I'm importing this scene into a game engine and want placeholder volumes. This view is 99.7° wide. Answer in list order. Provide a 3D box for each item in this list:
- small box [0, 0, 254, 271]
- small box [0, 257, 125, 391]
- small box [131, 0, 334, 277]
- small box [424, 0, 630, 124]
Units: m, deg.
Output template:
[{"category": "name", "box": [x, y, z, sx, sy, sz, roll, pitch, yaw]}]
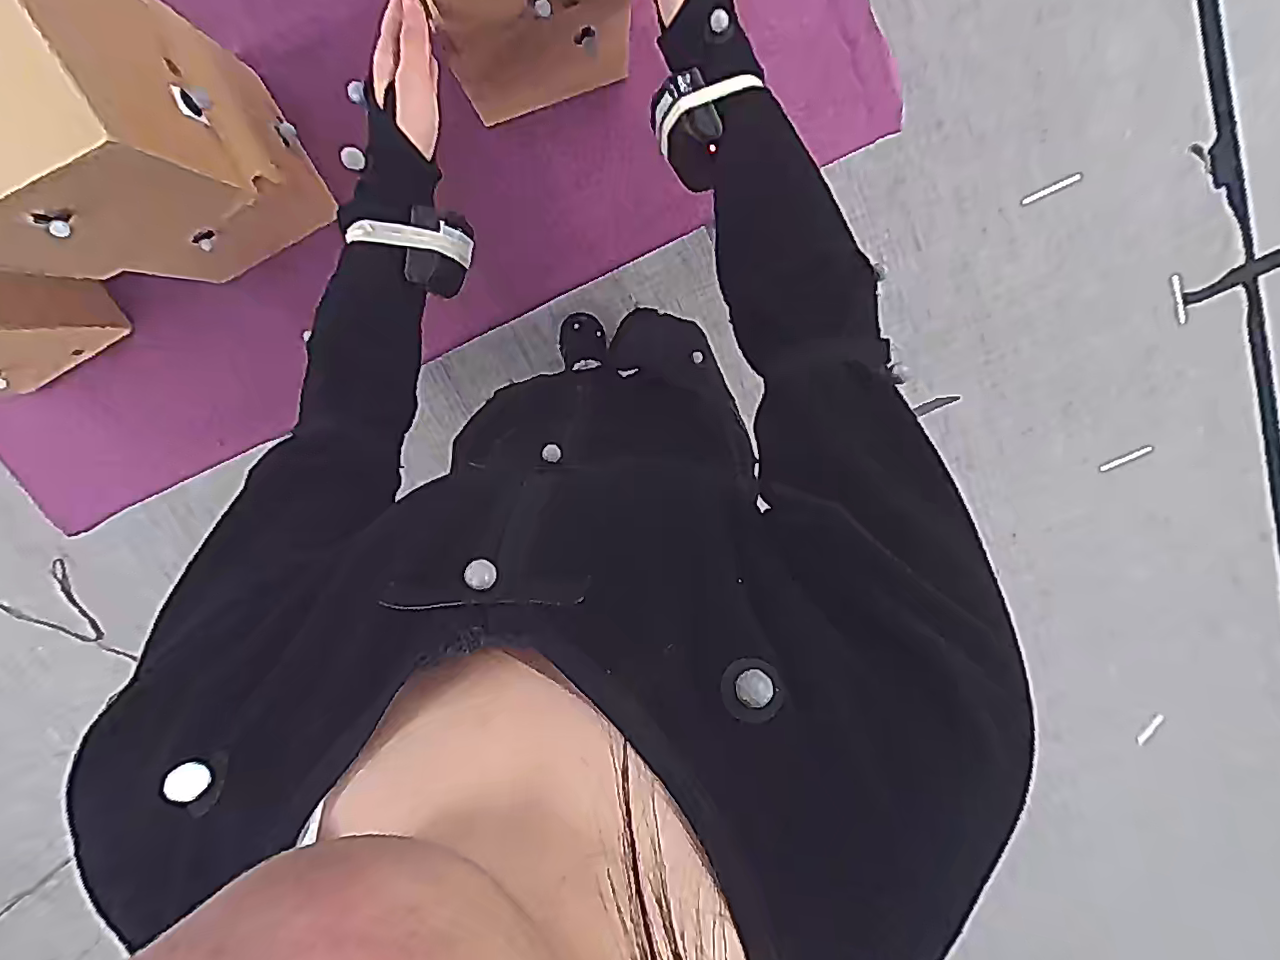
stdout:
[{"category": "small box", "box": [-0.450, -0.272, 0.402, 0.179, 0.176, 0.168, -25, 107, 2]}, {"category": "small box", "box": [-0.729, -0.198, 0.574, 0.168, 0.176, 0.179, -28, 104, 4]}, {"category": "small box", "box": [-0.465, -0.326, 0.554, 0.179, 0.176, 0.168, -27, 105, 3]}, {"category": "small box", "box": [-0.119, -0.489, 0.530, 0.179, 0.176, 0.168, -18, 105, 2]}]
